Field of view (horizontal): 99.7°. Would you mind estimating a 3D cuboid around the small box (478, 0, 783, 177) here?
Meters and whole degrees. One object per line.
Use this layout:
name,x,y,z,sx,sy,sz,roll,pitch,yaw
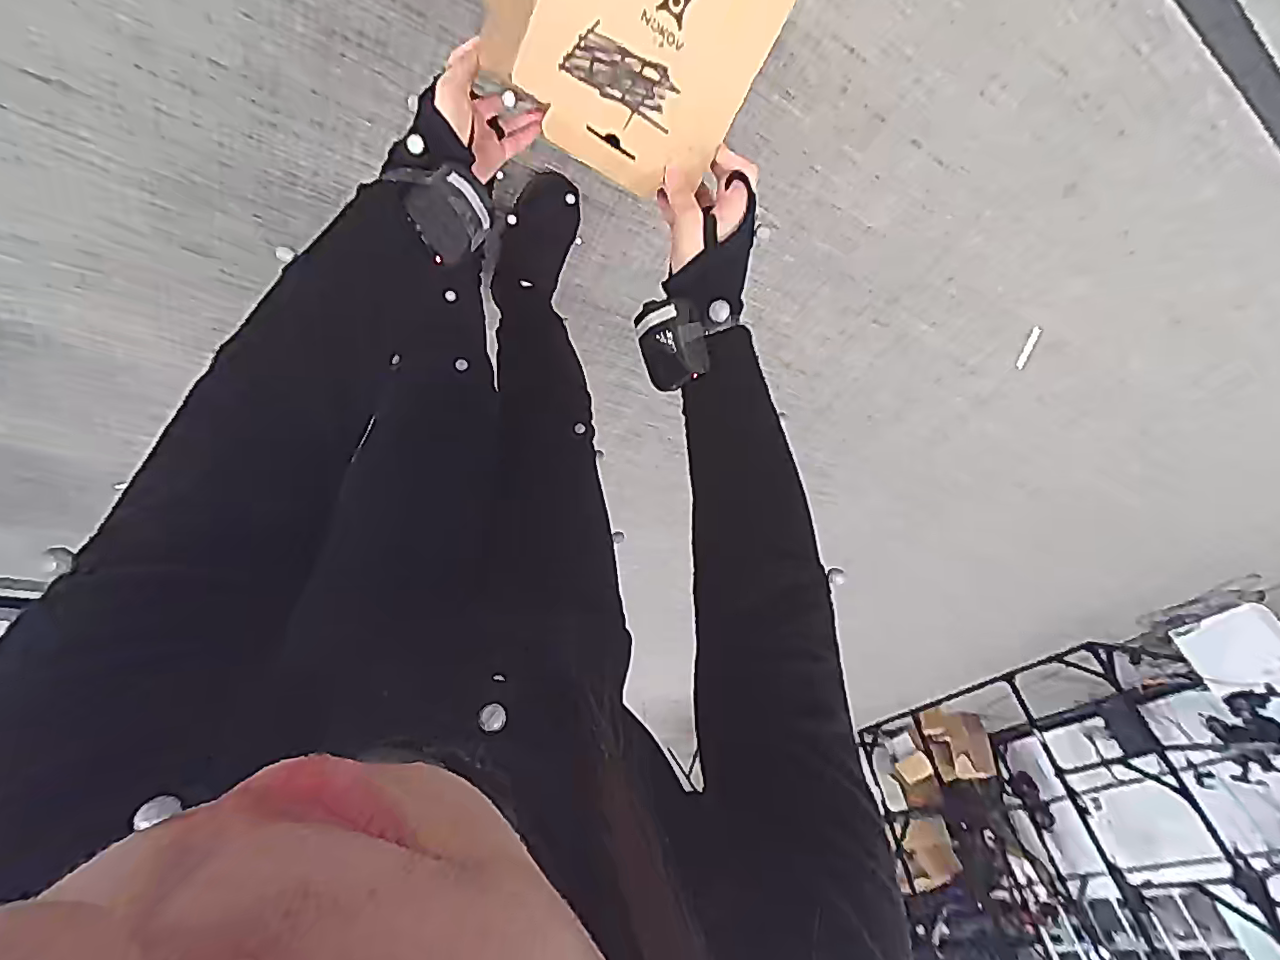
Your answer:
small box,-0.013,-0.374,0.413,0.168,0.176,0.179,13,120,-35
